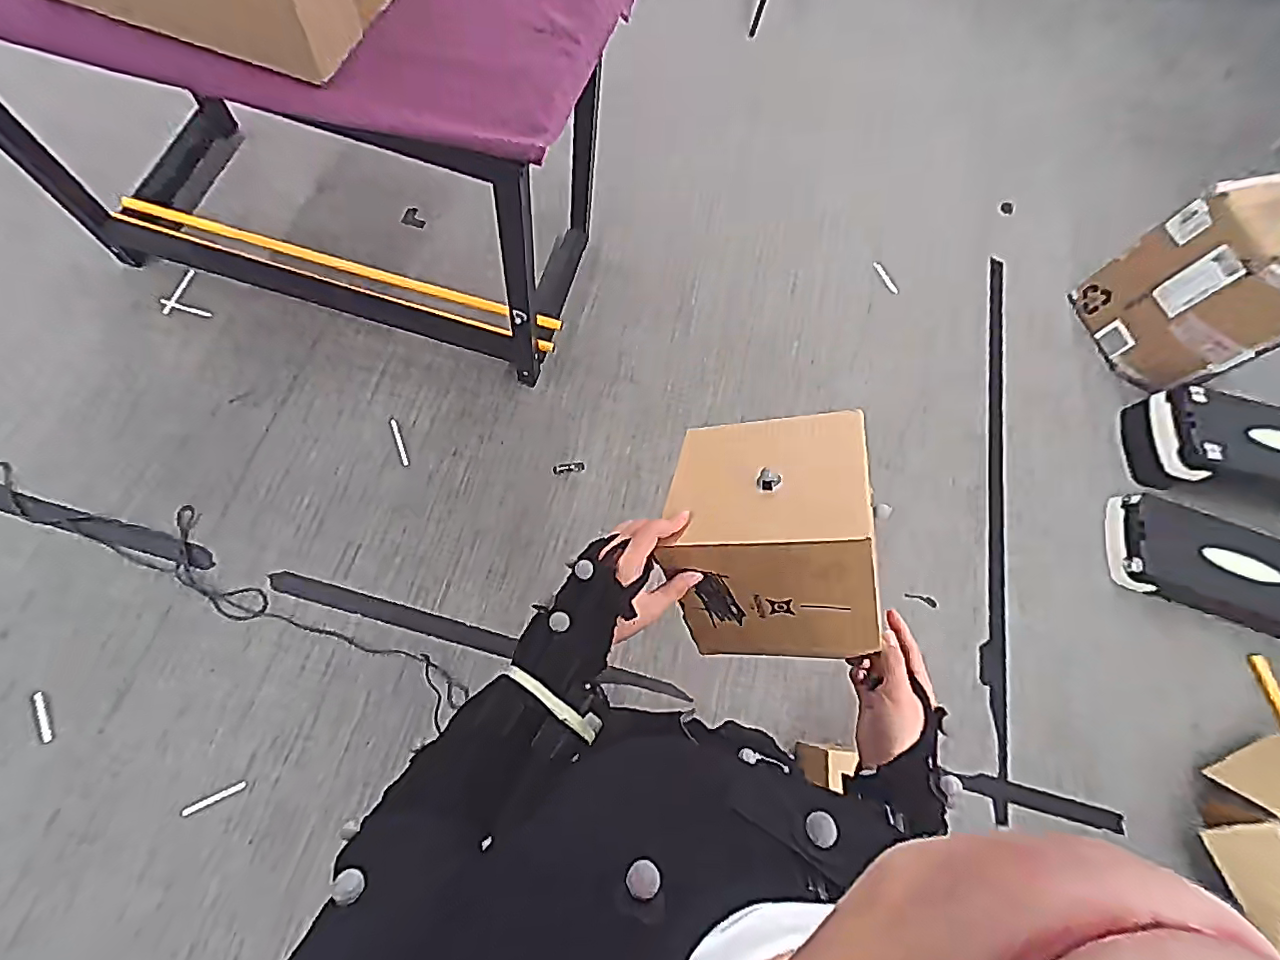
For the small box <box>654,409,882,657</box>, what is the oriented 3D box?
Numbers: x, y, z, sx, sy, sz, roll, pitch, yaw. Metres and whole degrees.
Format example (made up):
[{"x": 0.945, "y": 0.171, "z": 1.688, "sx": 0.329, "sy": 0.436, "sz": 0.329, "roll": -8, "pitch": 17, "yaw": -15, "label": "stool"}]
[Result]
[{"x": 0.134, "y": 0.050, "z": 0.528, "sx": 0.179, "sy": 0.168, "sz": 0.176, "roll": -6, "pitch": 42, "yaw": 23, "label": "small box"}]
